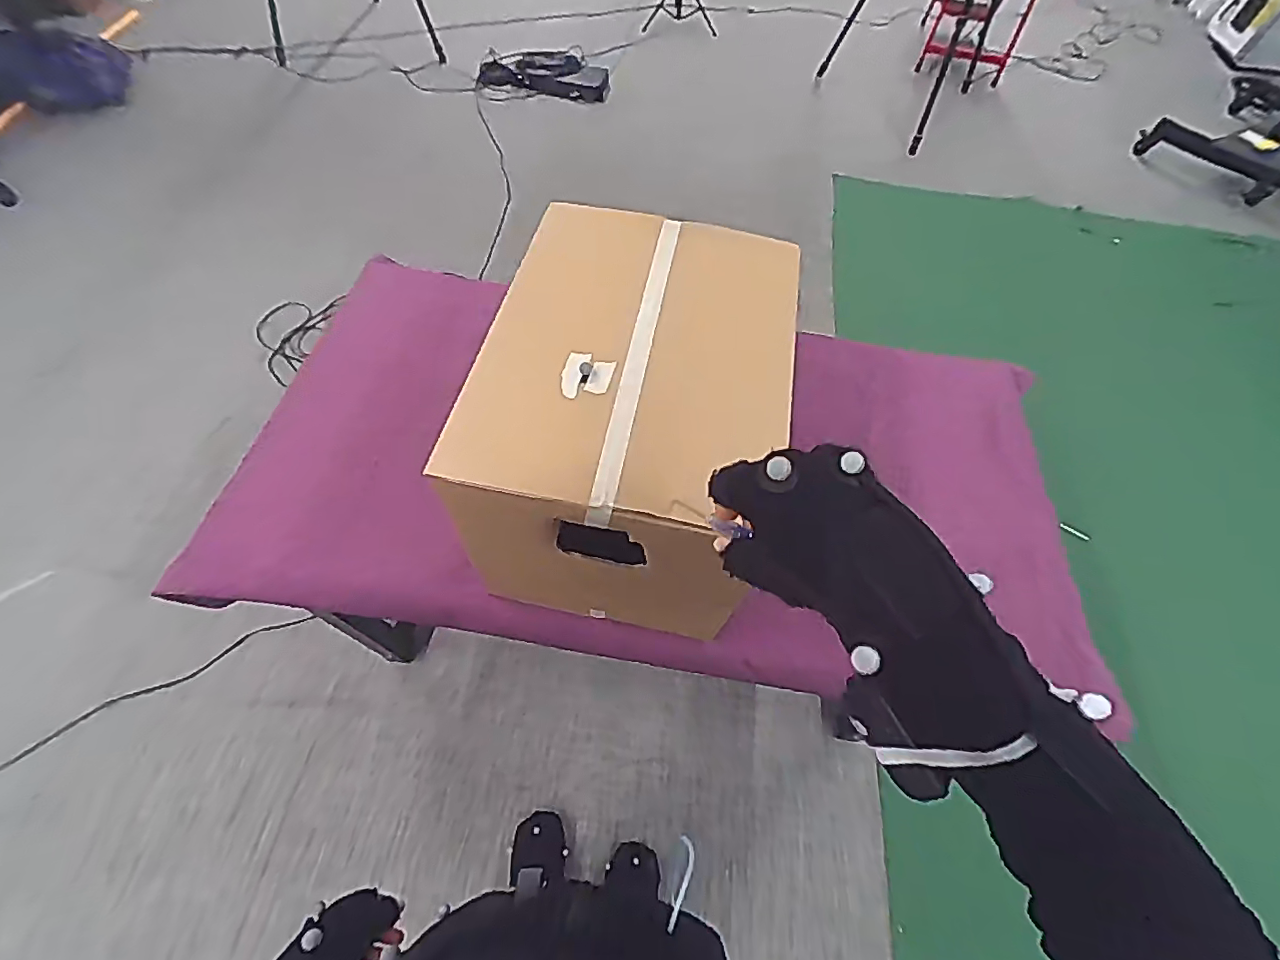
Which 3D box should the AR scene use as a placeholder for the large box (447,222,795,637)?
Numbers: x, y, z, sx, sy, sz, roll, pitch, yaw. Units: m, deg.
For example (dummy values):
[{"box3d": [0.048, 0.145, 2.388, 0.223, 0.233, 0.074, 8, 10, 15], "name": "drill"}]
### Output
[{"box3d": [-0.004, -0.055, 0.707, 0.320, 0.320, 0.408, 11, 60, 2], "name": "large box"}]
